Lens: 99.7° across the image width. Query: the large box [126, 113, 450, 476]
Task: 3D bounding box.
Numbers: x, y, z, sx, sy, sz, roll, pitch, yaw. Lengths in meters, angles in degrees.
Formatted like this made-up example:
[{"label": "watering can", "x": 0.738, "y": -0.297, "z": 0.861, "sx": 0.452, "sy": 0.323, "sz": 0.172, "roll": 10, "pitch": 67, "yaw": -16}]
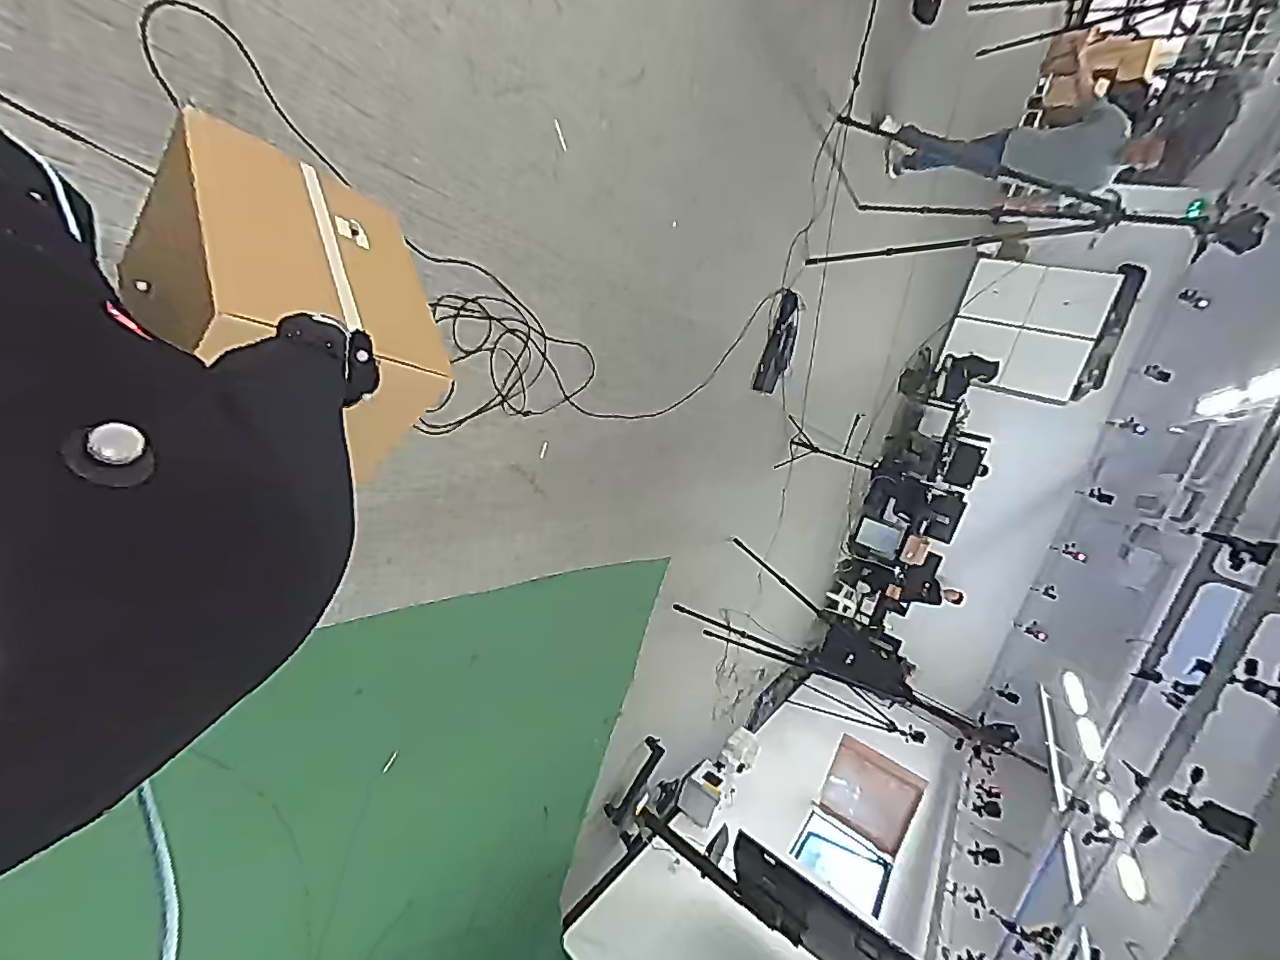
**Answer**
[{"label": "large box", "x": -0.573, "y": -0.256, "z": 0.871, "sx": 0.320, "sy": 0.408, "sz": 0.320, "roll": -38, "pitch": 156, "yaw": 25}]
